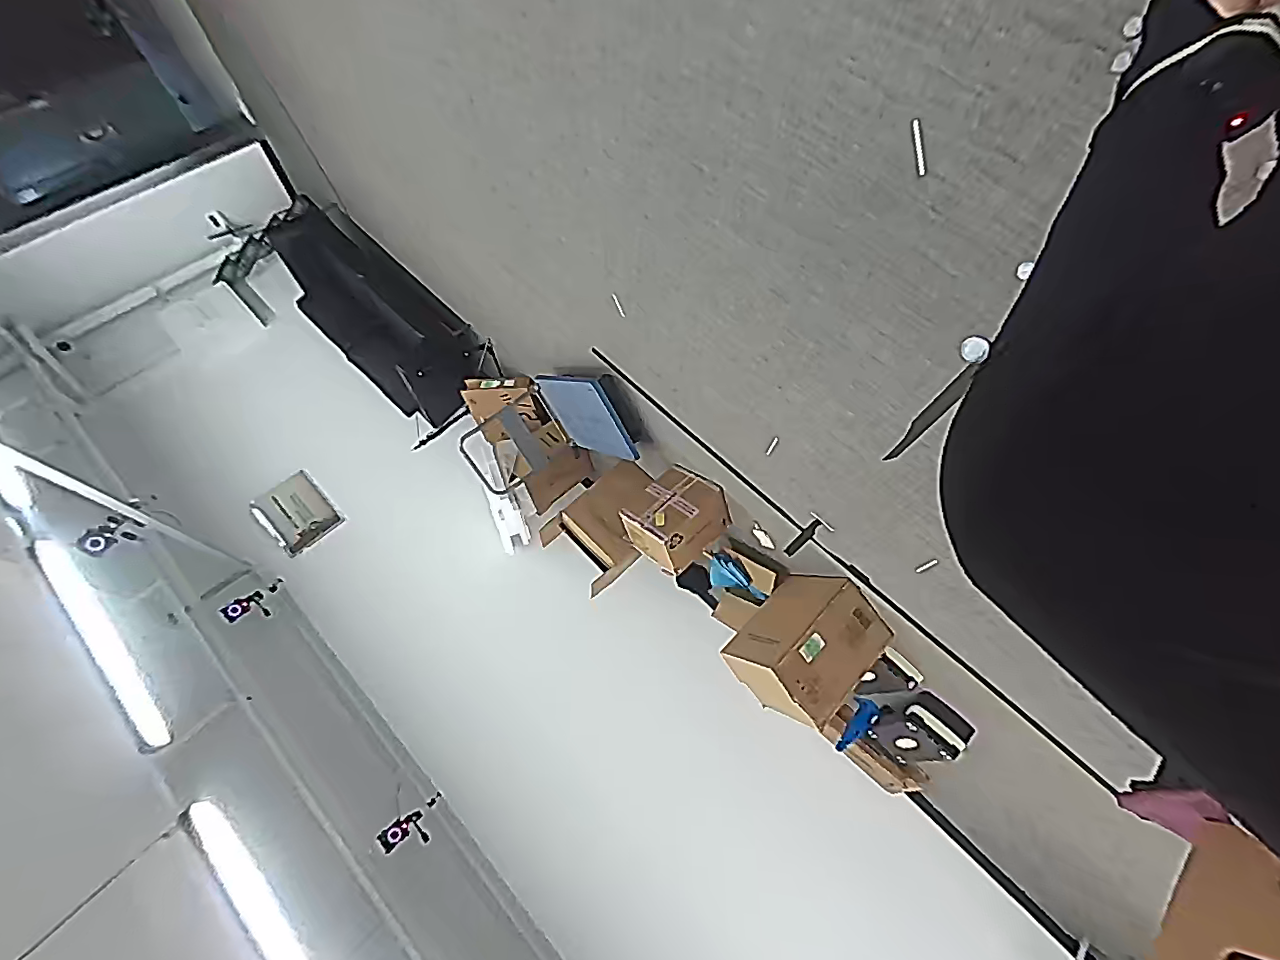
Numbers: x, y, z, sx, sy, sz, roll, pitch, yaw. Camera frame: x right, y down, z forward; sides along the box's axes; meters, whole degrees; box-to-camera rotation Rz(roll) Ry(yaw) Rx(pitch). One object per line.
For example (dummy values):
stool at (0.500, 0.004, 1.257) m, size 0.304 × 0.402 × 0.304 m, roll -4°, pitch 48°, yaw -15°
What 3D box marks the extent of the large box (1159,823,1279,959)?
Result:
large box at (0.992, 0.713, 0.657) m, size 0.408 × 0.320 × 0.320 m, roll 41°, pitch 160°, yaw 16°
